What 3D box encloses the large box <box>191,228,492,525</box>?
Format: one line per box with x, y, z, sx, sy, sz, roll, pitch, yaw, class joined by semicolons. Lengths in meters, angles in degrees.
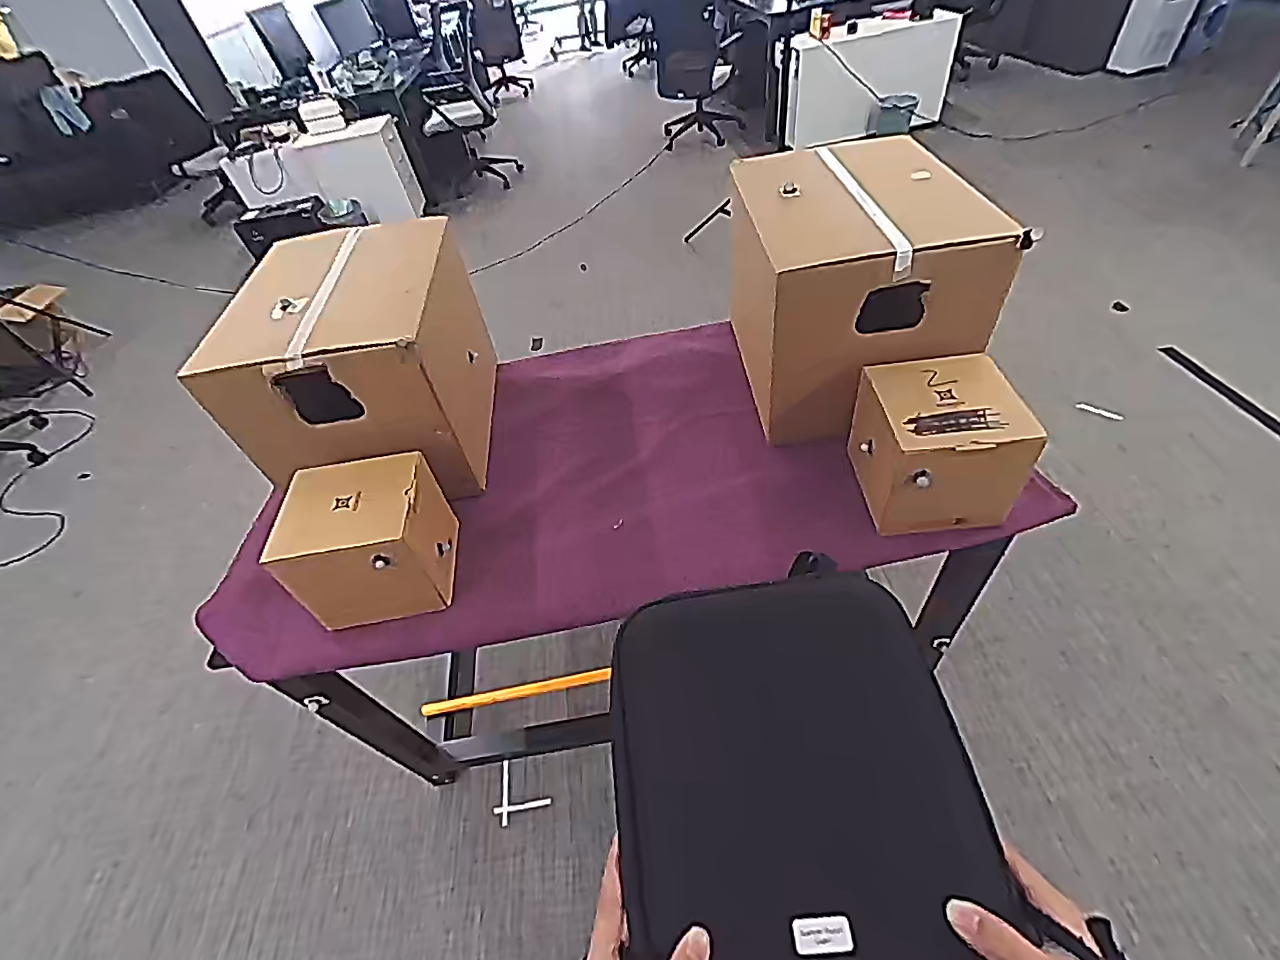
-0.458;-0.186;0.952;0.320;0.320;0.408;-10;49;0;large box
